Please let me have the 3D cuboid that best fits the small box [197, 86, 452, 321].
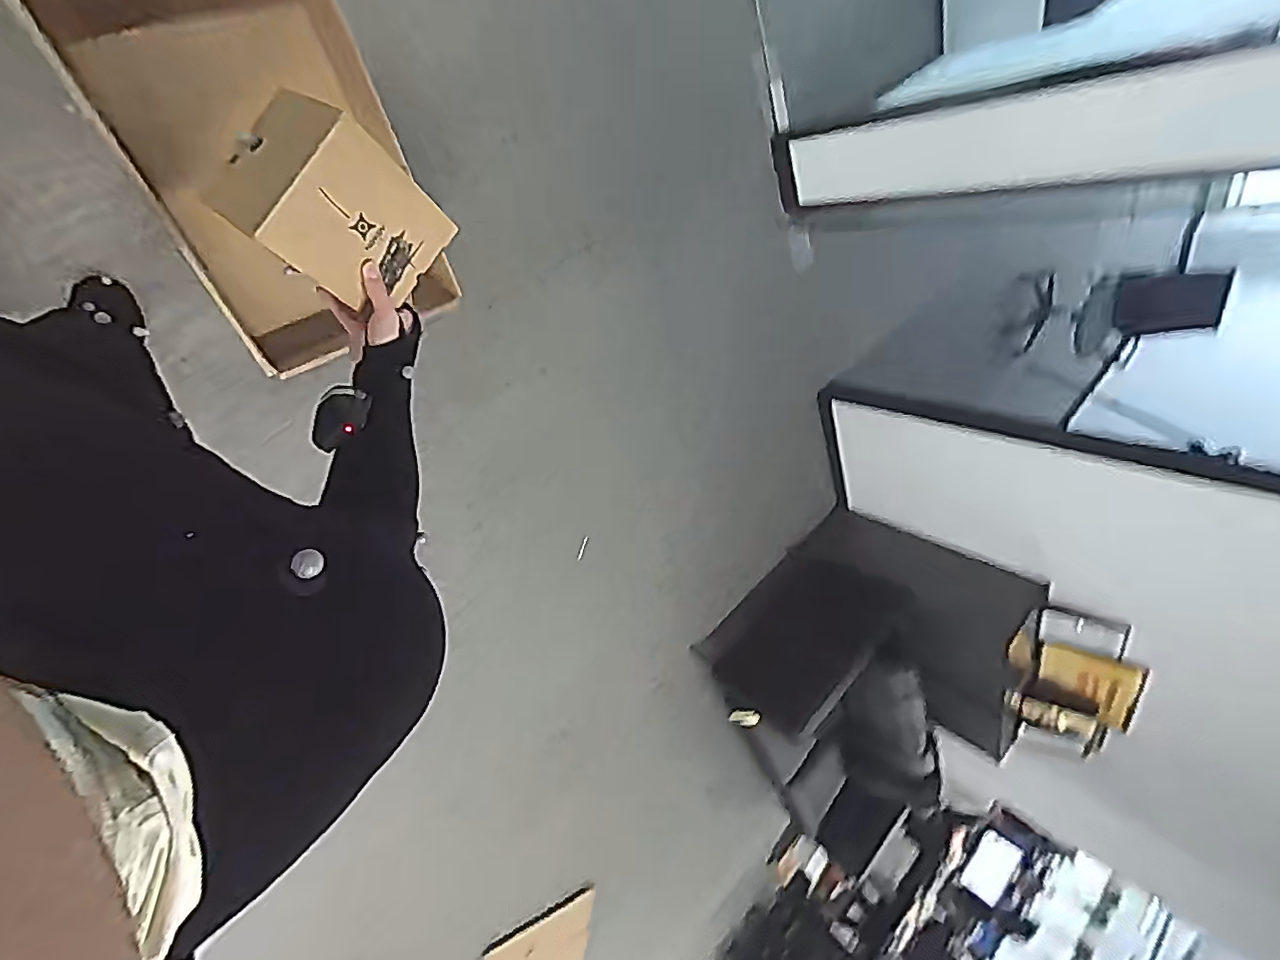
[{"bbox_3d":[-0.375,-0.331,0.652,0.168,0.176,0.179,-55,150,0],"label":"small box"}]
